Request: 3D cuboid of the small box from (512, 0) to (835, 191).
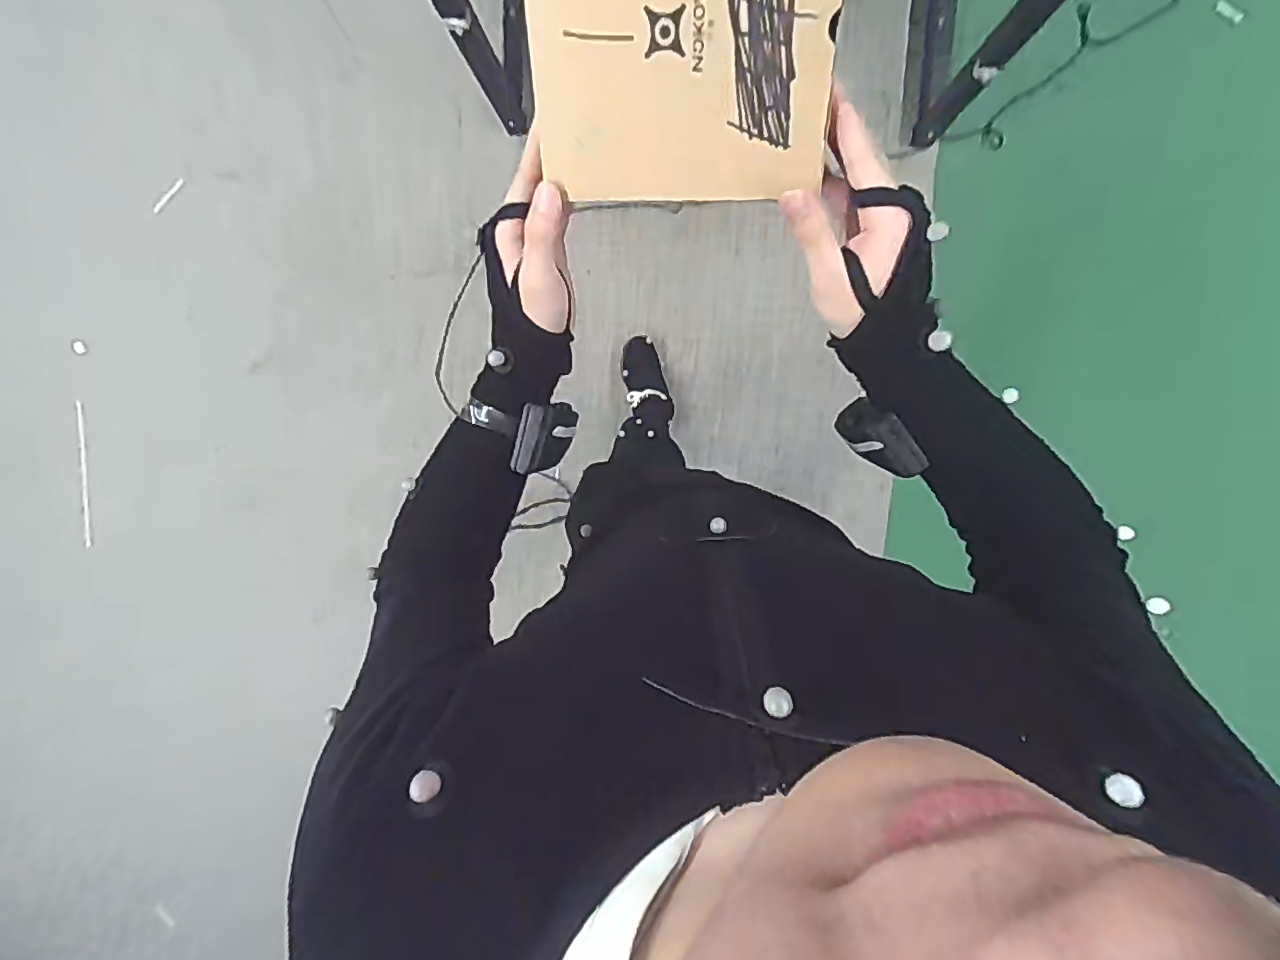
[{"bbox_3d":[0.026,-0.294,0.356,0.179,0.176,0.168,4,125,8],"label":"small box"}]
